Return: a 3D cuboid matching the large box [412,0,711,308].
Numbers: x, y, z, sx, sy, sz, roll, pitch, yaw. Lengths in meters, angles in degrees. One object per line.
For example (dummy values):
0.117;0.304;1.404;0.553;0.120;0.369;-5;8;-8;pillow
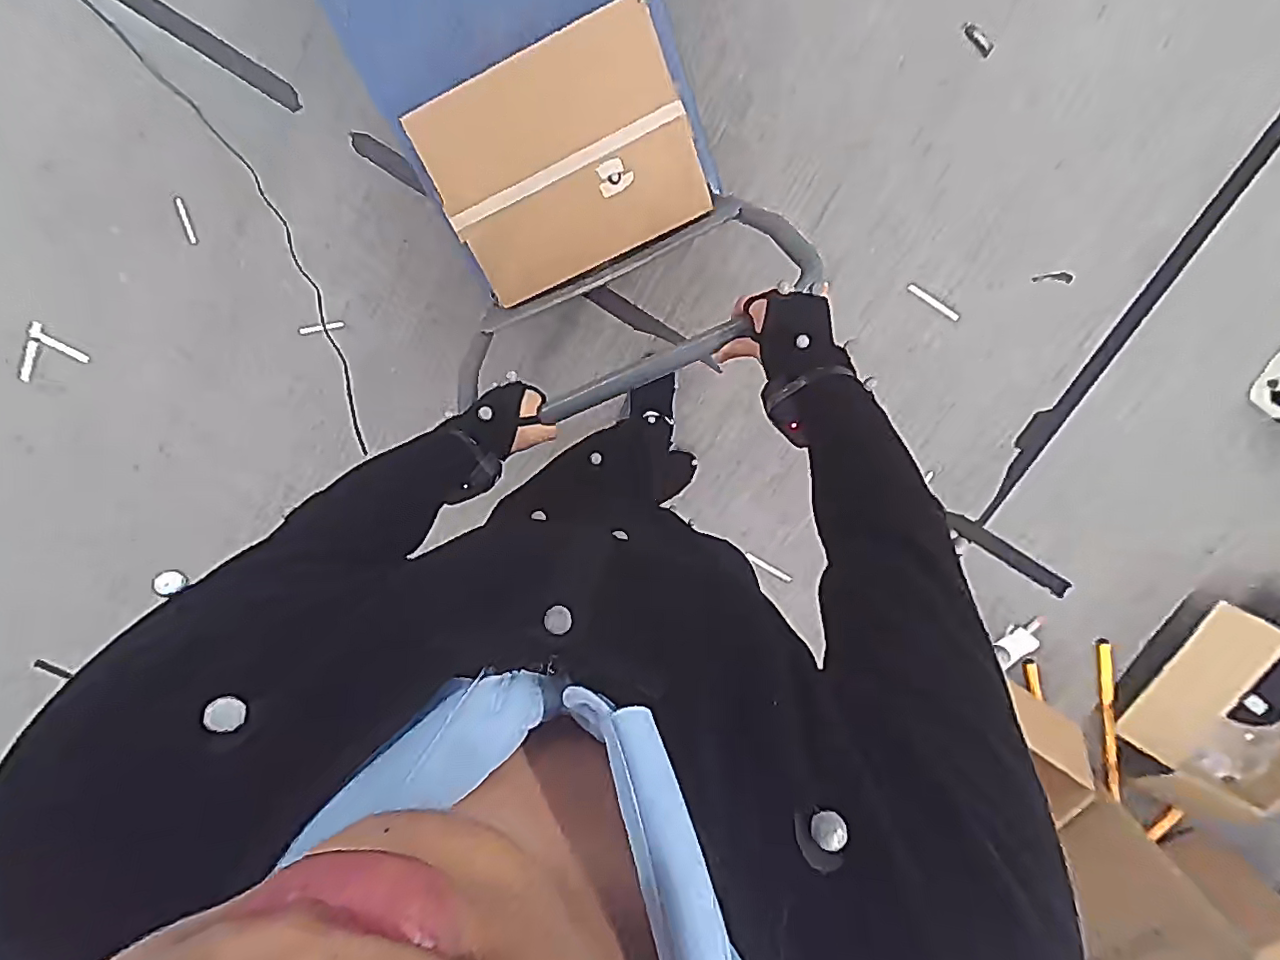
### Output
-0.131;-0.577;1.013;0.408;0.320;0.320;-24;118;7;large box
